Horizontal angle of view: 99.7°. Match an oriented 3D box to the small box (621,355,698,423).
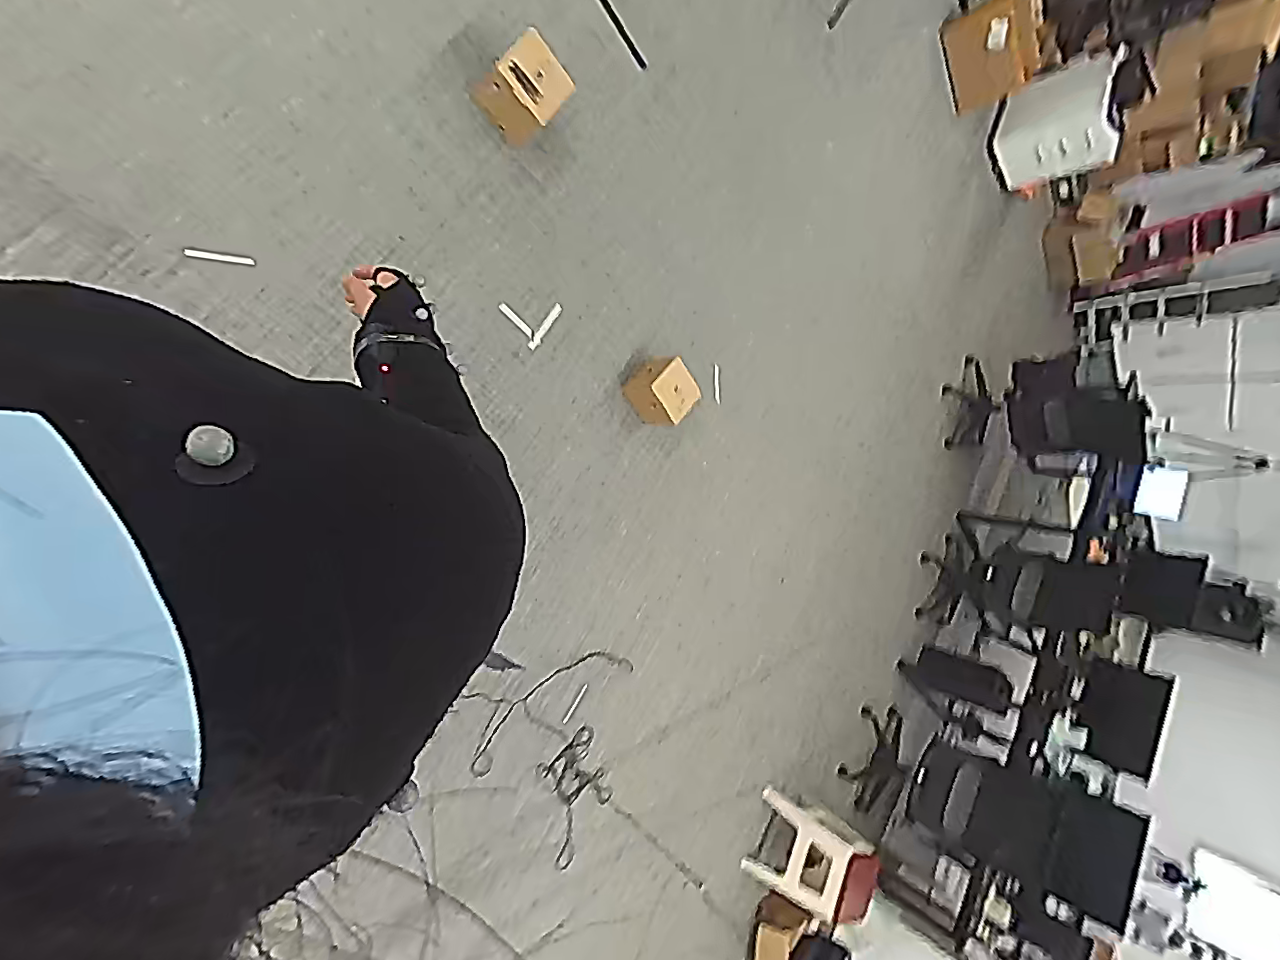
[{"bbox_3d":[0.065,-0.313,1.891,0.168,0.176,0.179,-50,123,-22],"label":"small box"}]
